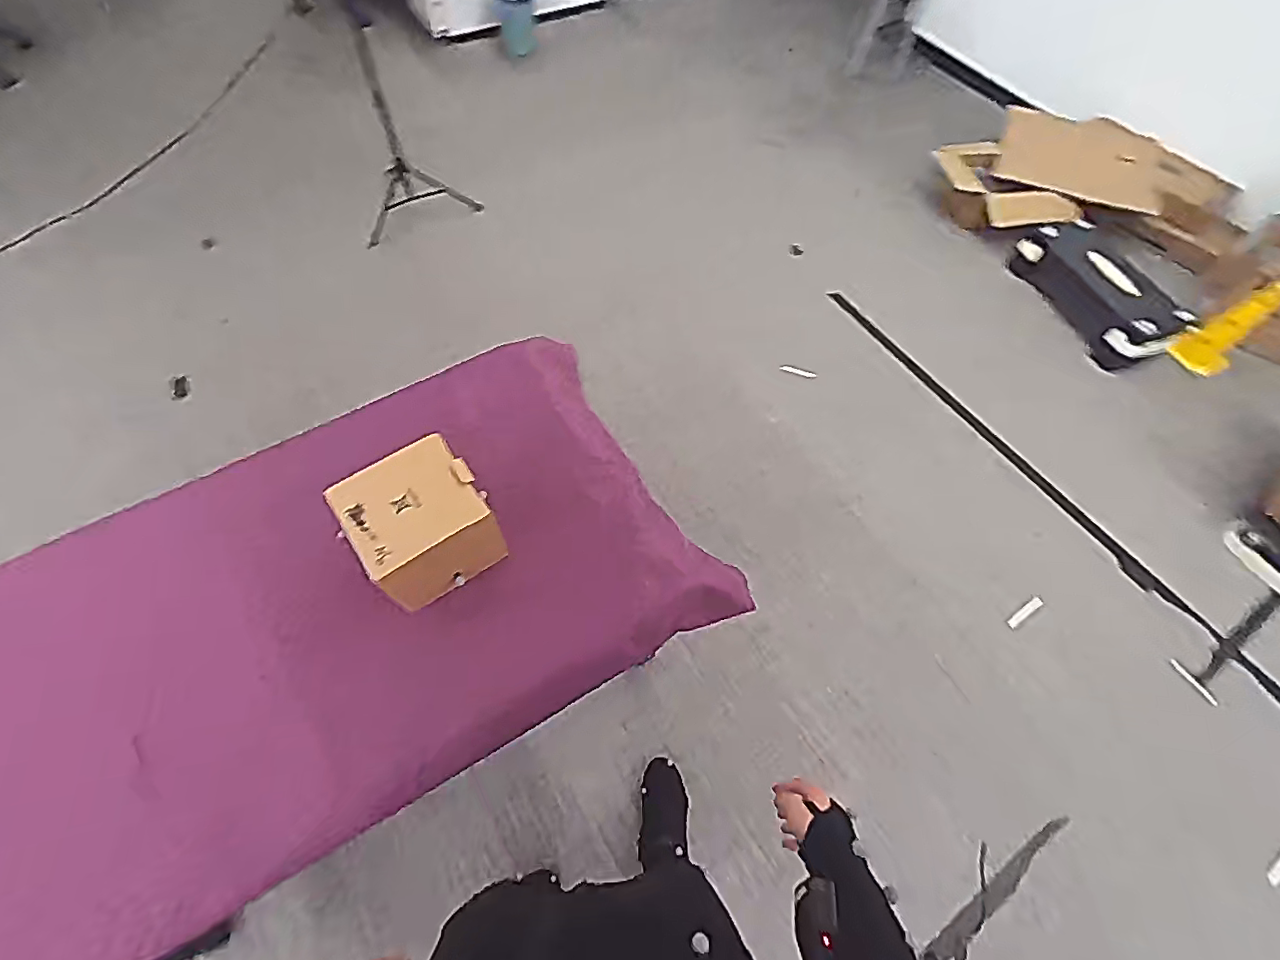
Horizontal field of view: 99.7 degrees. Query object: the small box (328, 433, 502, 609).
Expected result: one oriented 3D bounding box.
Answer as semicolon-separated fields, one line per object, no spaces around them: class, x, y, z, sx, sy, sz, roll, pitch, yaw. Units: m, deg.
small box;-0.325;0.066;0.822;0.179;0.176;0.168;-32;68;-19
